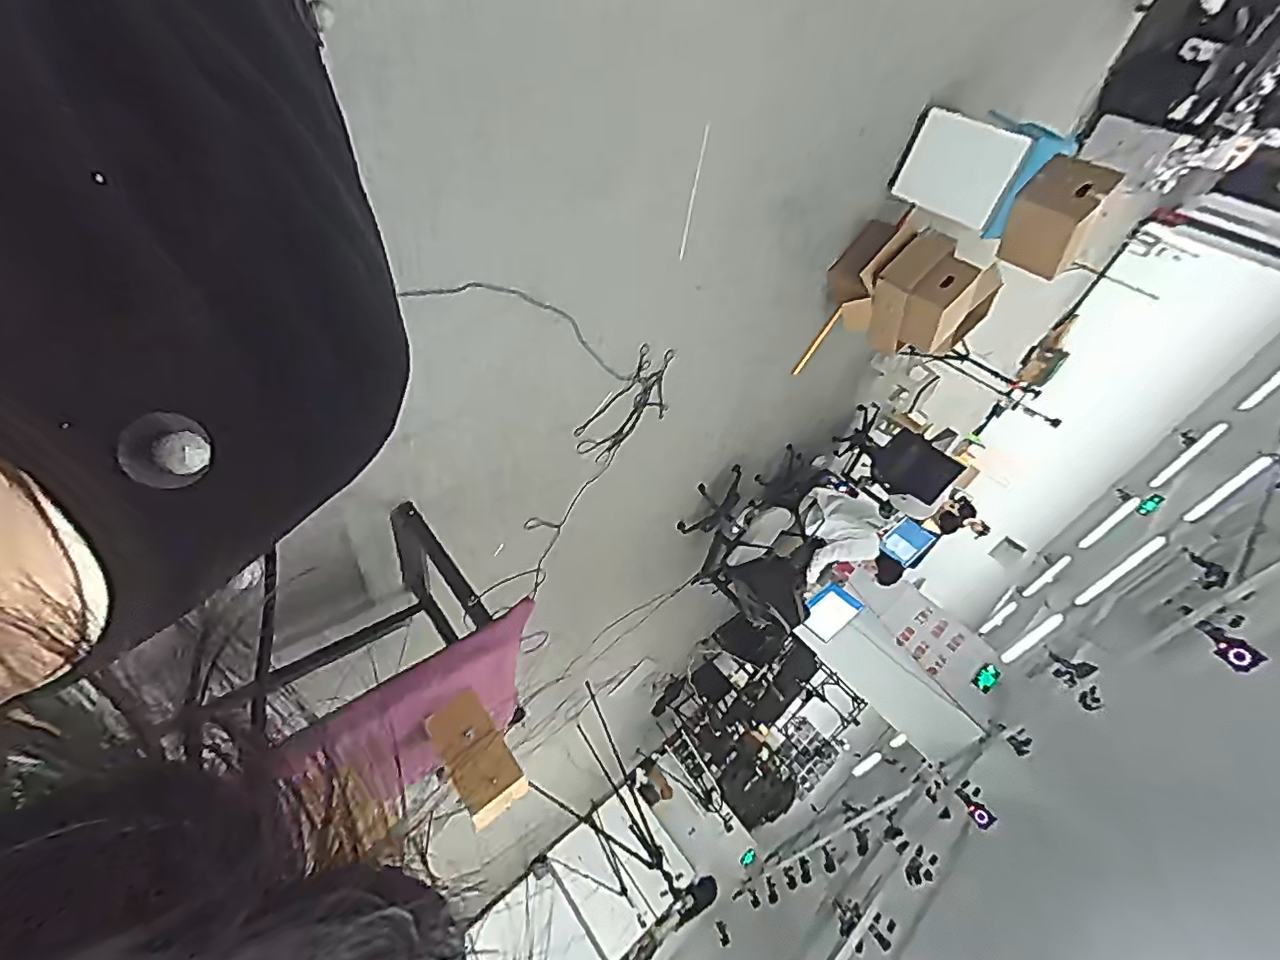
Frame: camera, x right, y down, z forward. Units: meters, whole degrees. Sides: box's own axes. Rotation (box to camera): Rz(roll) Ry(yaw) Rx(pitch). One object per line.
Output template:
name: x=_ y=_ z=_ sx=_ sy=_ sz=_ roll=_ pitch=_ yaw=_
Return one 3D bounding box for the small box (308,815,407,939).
small box: x=-0.731 y=1.014 z=1.396 sx=0.179 sy=0.176 sz=0.168 roll=-15 pitch=139 yaw=-44

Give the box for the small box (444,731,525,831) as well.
small box: x=-0.466 y=0.894 z=1.611 sx=0.179 sy=0.176 sz=0.168 roll=-30 pitch=147 yaw=-30

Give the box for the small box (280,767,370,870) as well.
small box: x=-0.845 y=0.920 z=1.468 sx=0.168 sy=0.176 sz=0.179 roll=-24 pitch=145 yaw=-36

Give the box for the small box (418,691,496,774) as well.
small box: x=-0.567 y=0.797 z=1.693 sx=0.179 sy=0.176 sz=0.168 roll=-28 pitch=146 yaw=-31
